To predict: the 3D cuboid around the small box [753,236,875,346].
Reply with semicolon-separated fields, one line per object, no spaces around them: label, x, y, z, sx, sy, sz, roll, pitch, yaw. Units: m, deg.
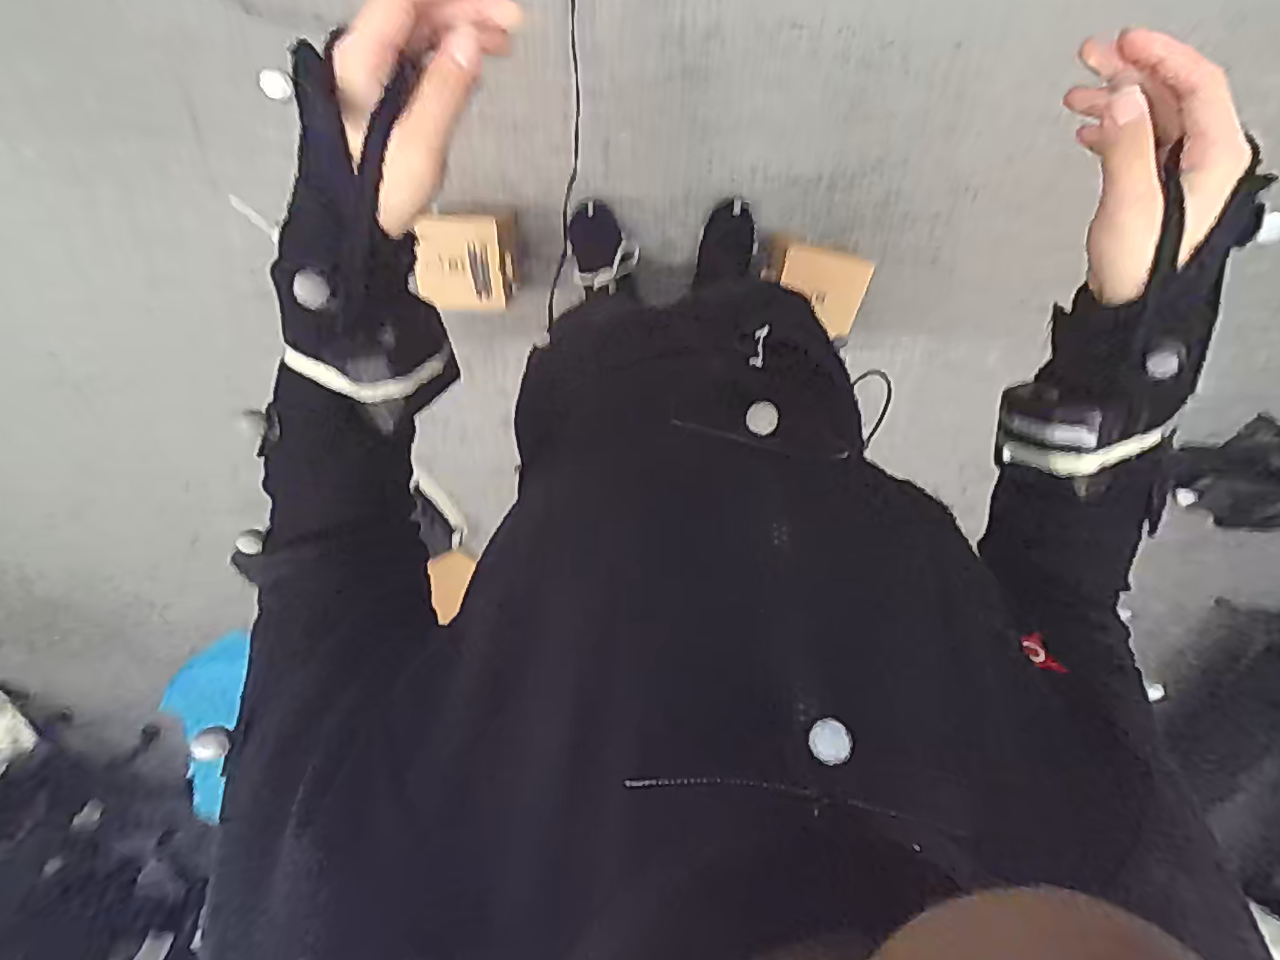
small box;0.355;-0.403;1.138;0.179;0.176;0.168;10;122;-5
